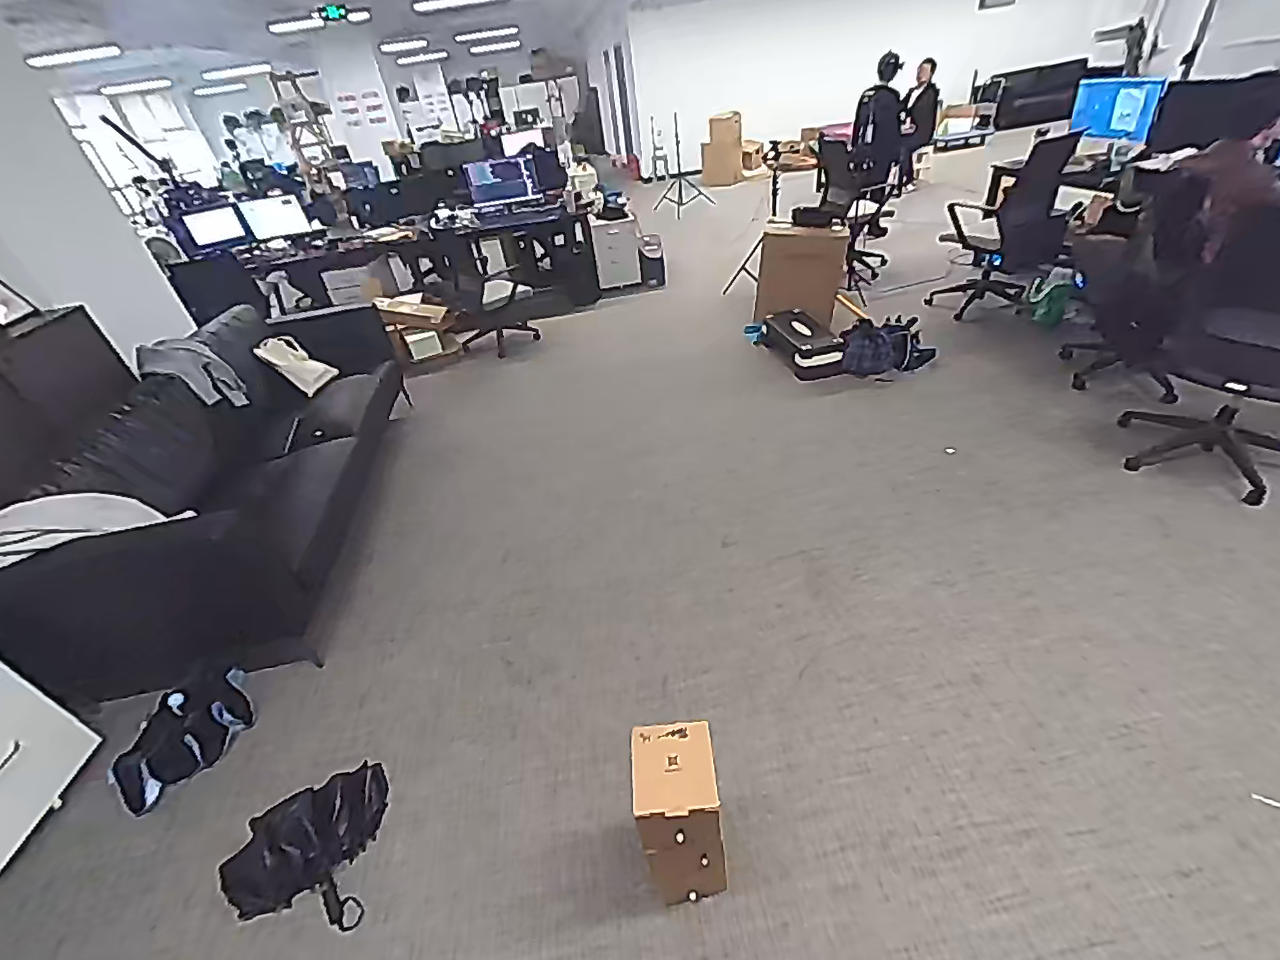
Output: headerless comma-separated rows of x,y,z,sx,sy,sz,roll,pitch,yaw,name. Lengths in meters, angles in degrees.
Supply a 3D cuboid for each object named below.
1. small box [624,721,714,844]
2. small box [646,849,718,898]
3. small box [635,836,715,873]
0.059,0.630,1.118,0.168,0.176,0.179,-7,39,3,small box
0.090,0.880,1.323,0.168,0.176,0.179,-12,39,-4,small box
0.071,0.756,1.220,0.168,0.176,0.179,-10,37,-3,small box
